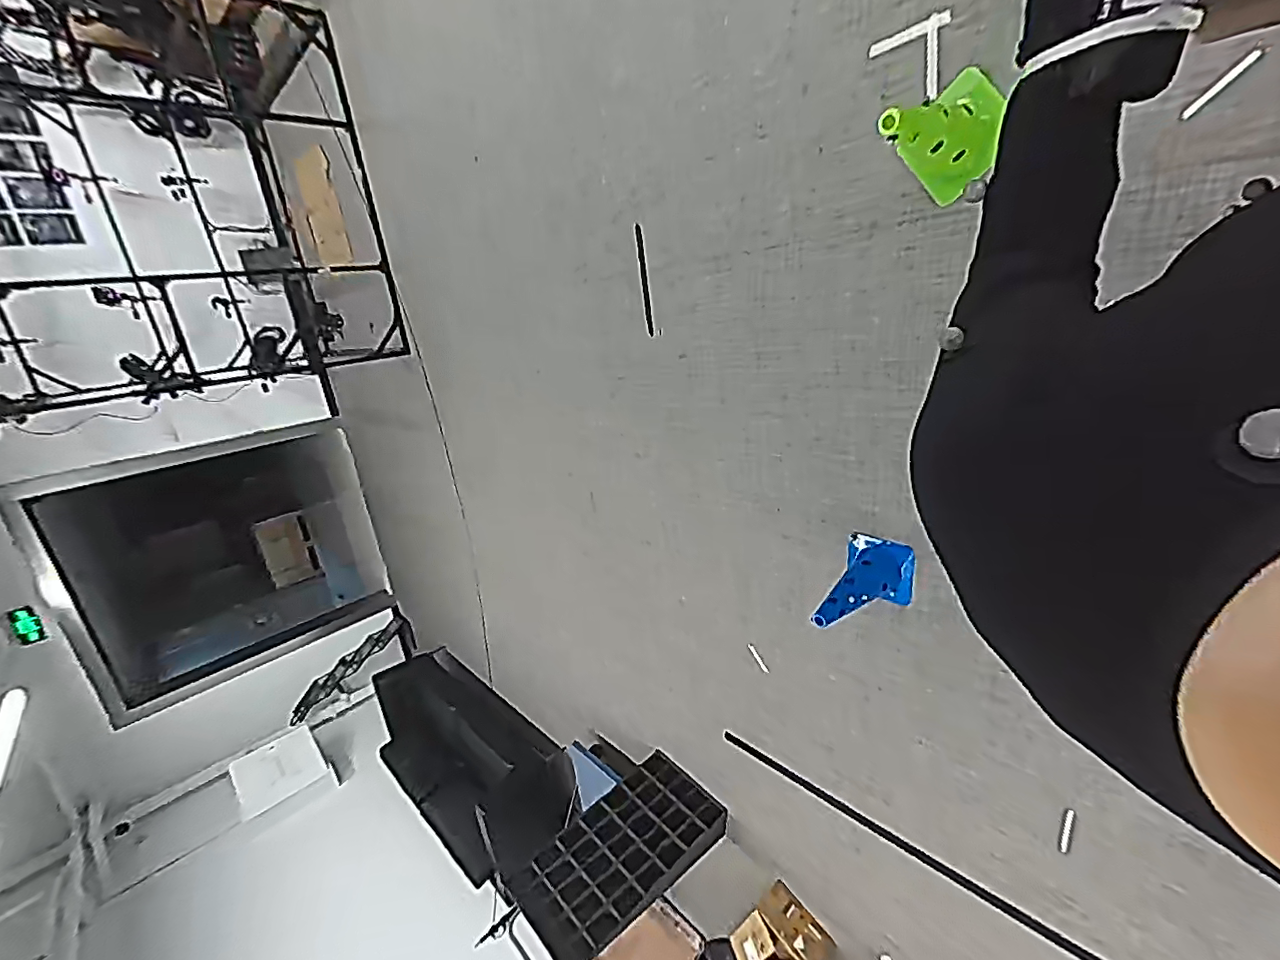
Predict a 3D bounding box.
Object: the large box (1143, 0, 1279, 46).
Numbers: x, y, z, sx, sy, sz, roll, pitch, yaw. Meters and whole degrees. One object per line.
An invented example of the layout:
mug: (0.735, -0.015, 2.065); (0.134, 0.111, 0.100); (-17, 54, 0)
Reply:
large box: (0.536, -0.465, 0.239); (0.408, 0.320, 0.320); (16, 125, 45)

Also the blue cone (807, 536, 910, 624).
blue cone: (0.612, 0.323, 1.570); (0.192, 0.380, 0.193); (18, 120, 45)

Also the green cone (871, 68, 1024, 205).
green cone: (0.575, -0.704, 1.094); (0.200, 0.368, 0.202); (60, 142, 11)
